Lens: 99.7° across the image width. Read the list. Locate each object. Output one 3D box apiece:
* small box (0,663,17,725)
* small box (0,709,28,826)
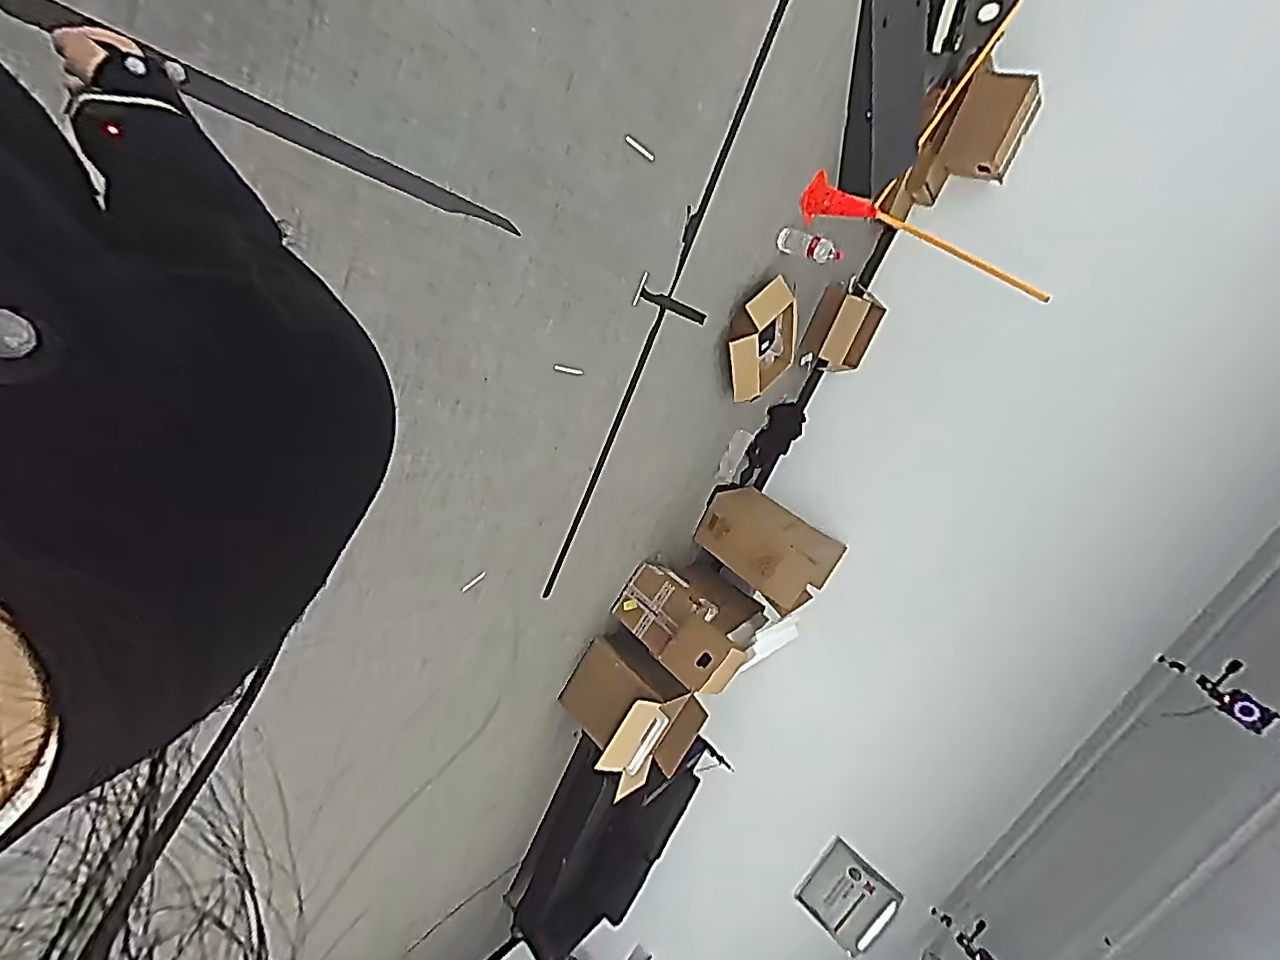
[{"bbox_3d":[-1.497,0.526,1.182,0.168,0.176,0.179,-7,125,-51],"label":"small box"},{"bbox_3d":[-1.382,0.609,1.099,0.168,0.176,0.179,-9,128,-51],"label":"small box"}]
